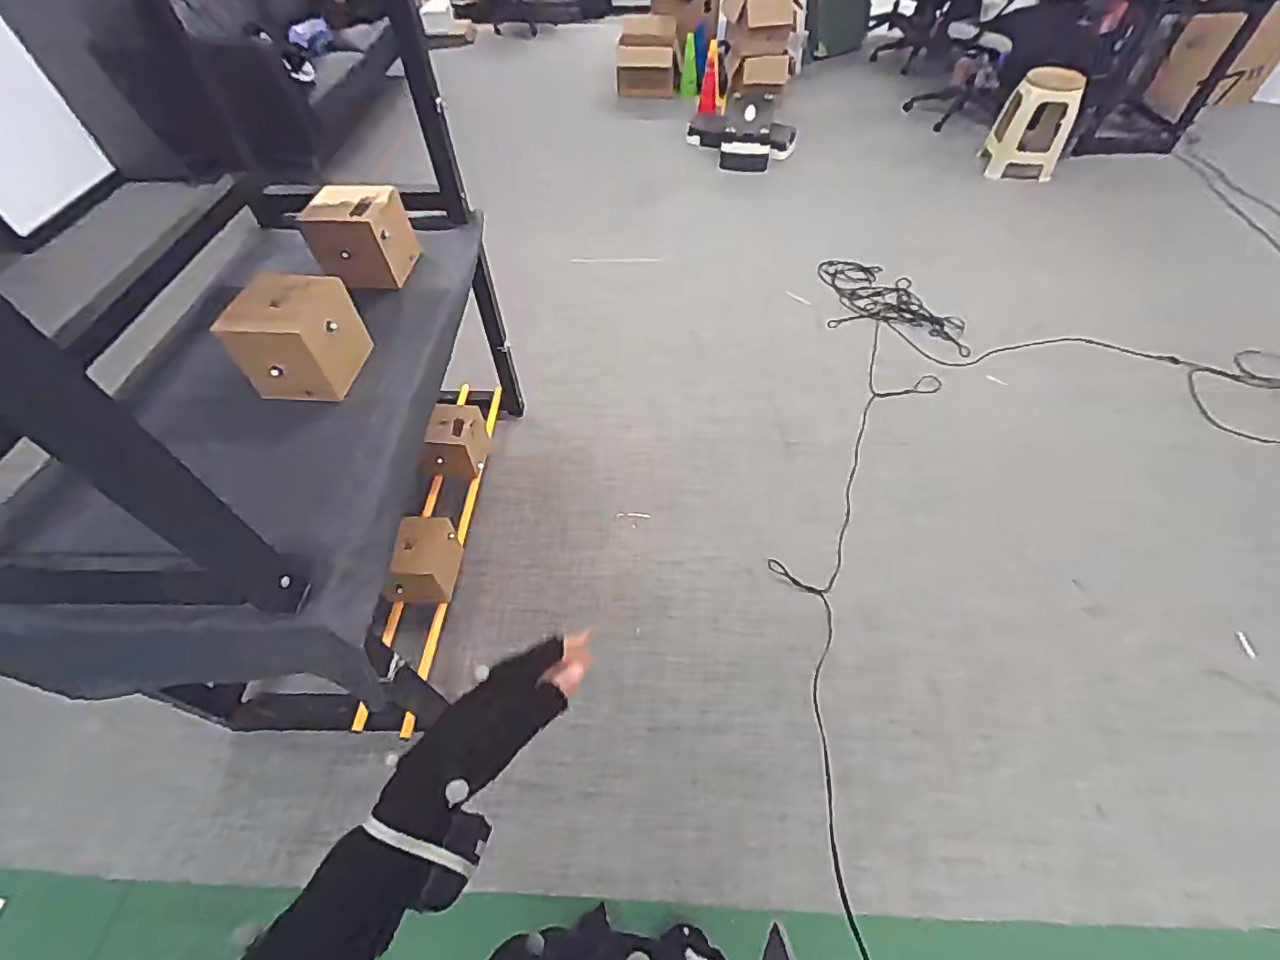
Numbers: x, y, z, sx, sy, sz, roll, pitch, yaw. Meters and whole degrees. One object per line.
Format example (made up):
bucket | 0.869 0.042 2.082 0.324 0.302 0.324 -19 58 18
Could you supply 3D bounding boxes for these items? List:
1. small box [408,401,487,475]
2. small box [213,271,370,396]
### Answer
small box | -0.601 -0.130 1.719 0.179 0.176 0.168 4 52 3
small box | -0.658 -0.282 1.051 0.168 0.176 0.179 3 53 3
